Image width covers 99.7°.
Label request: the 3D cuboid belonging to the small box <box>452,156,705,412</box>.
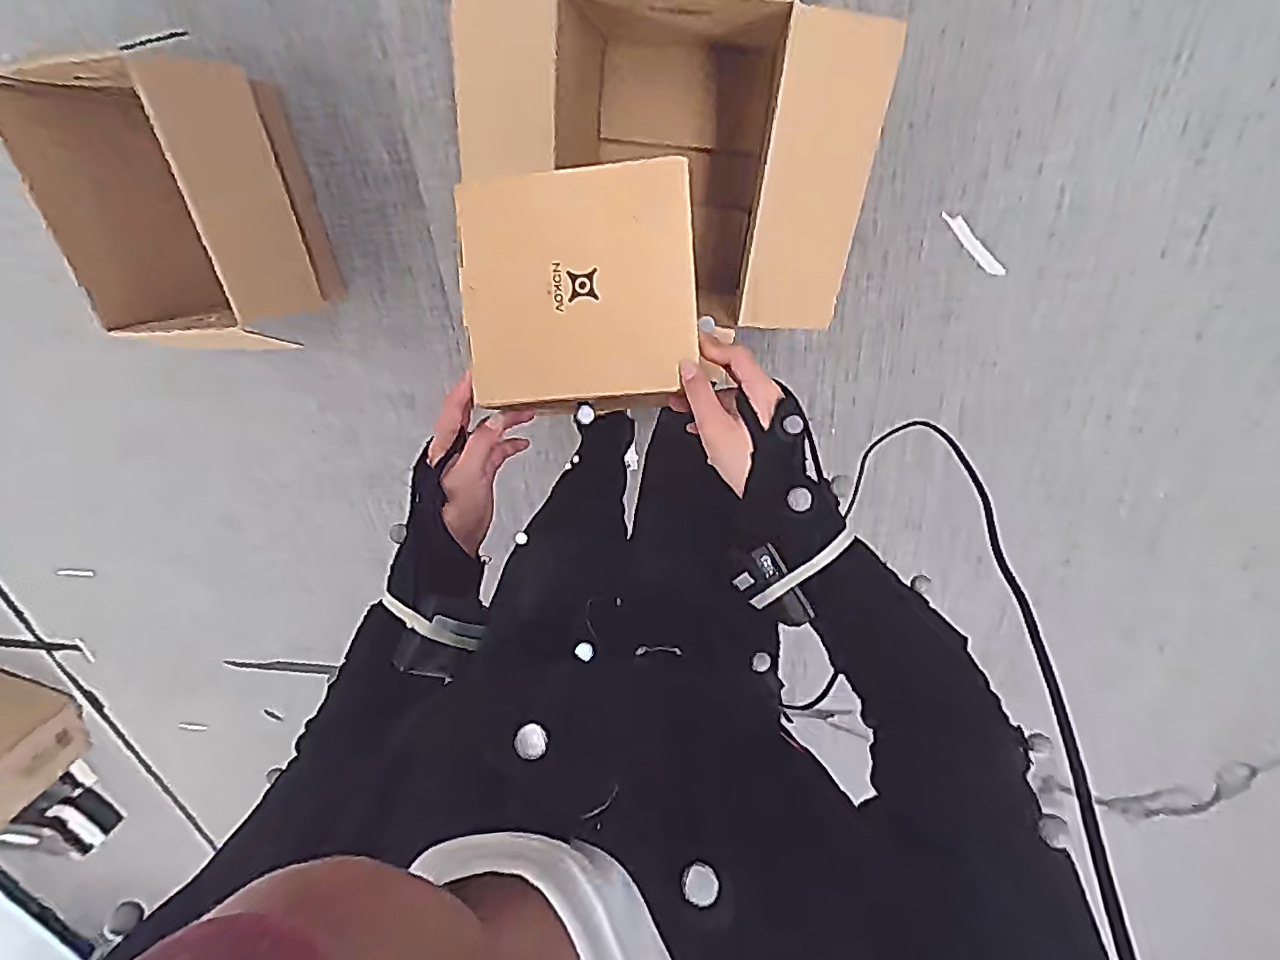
[{"bbox_3d":[-0.038,-0.147,0.469,0.179,0.176,0.168,-4,95,7],"label":"small box"}]
